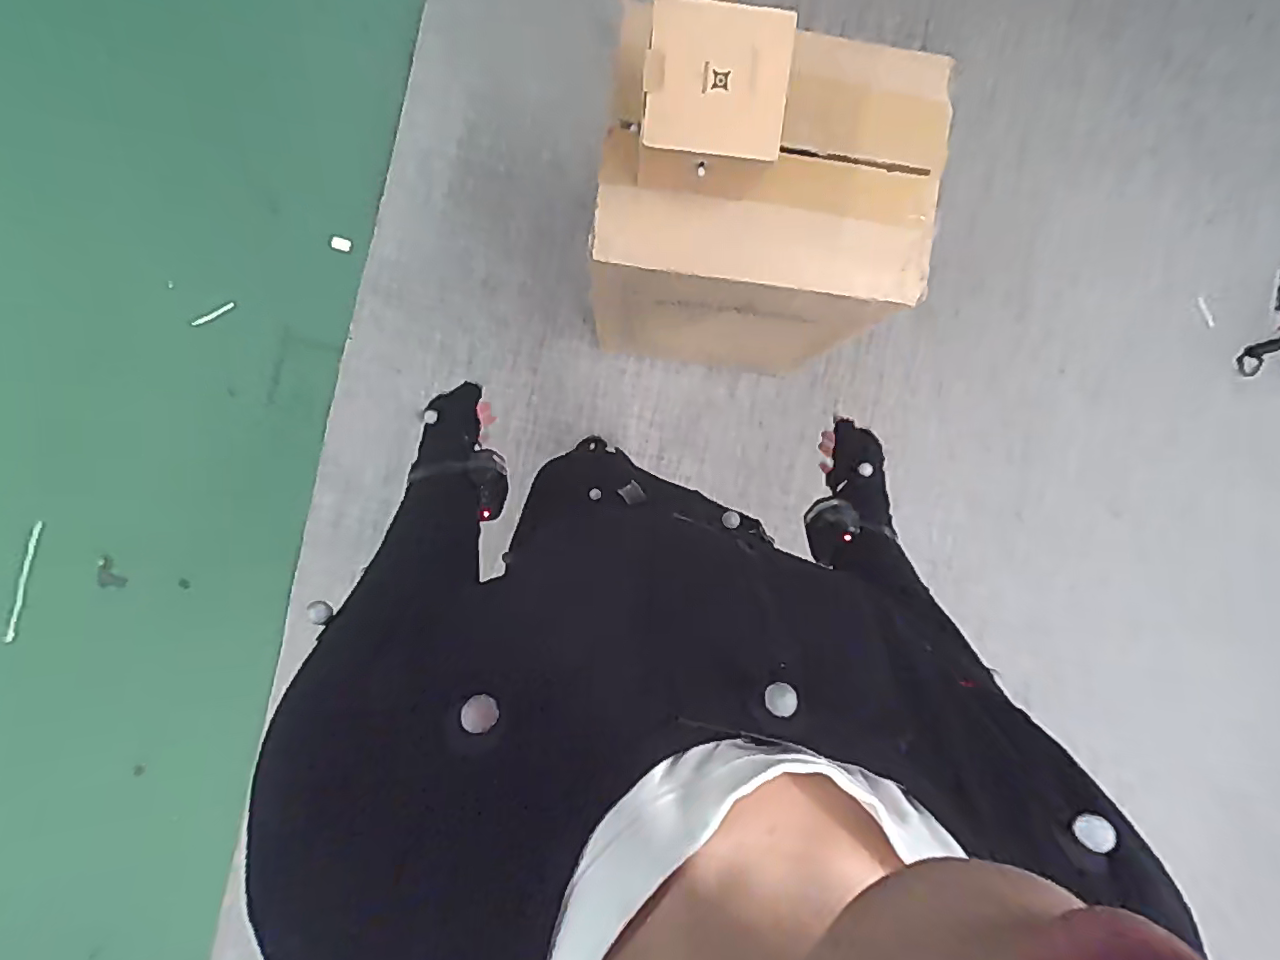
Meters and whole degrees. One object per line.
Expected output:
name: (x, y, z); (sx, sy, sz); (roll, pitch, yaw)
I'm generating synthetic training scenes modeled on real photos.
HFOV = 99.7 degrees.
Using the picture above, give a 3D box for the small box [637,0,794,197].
small box: (0.090, -0.506, 0.741); (0.179, 0.176, 0.168); (5, 102, -4)
